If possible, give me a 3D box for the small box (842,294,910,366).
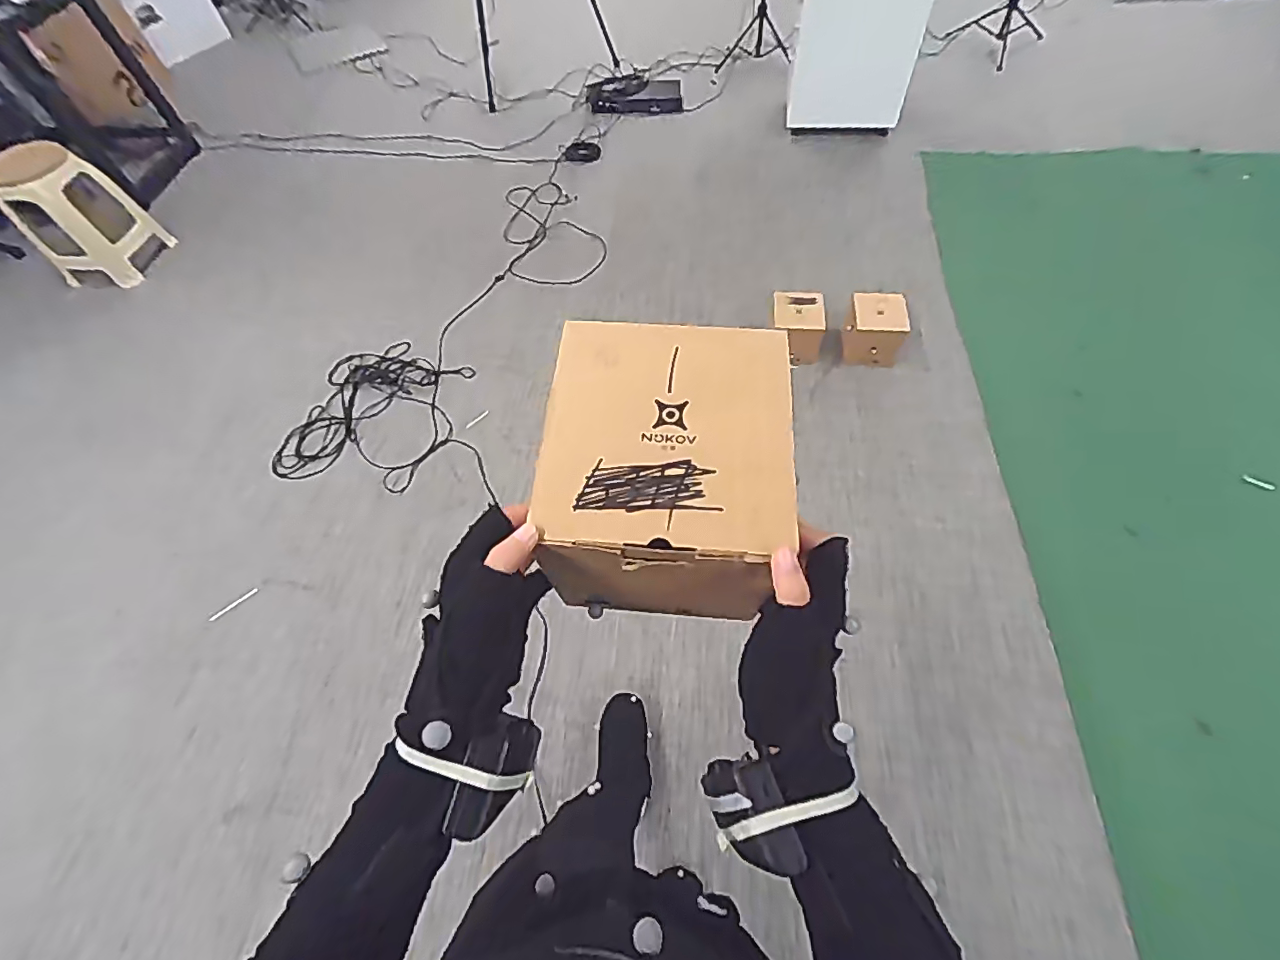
[{"bbox_3d":[0.795,-0.506,1.838,0.168,0.176,0.179,4,59,6],"label":"small box"}]
